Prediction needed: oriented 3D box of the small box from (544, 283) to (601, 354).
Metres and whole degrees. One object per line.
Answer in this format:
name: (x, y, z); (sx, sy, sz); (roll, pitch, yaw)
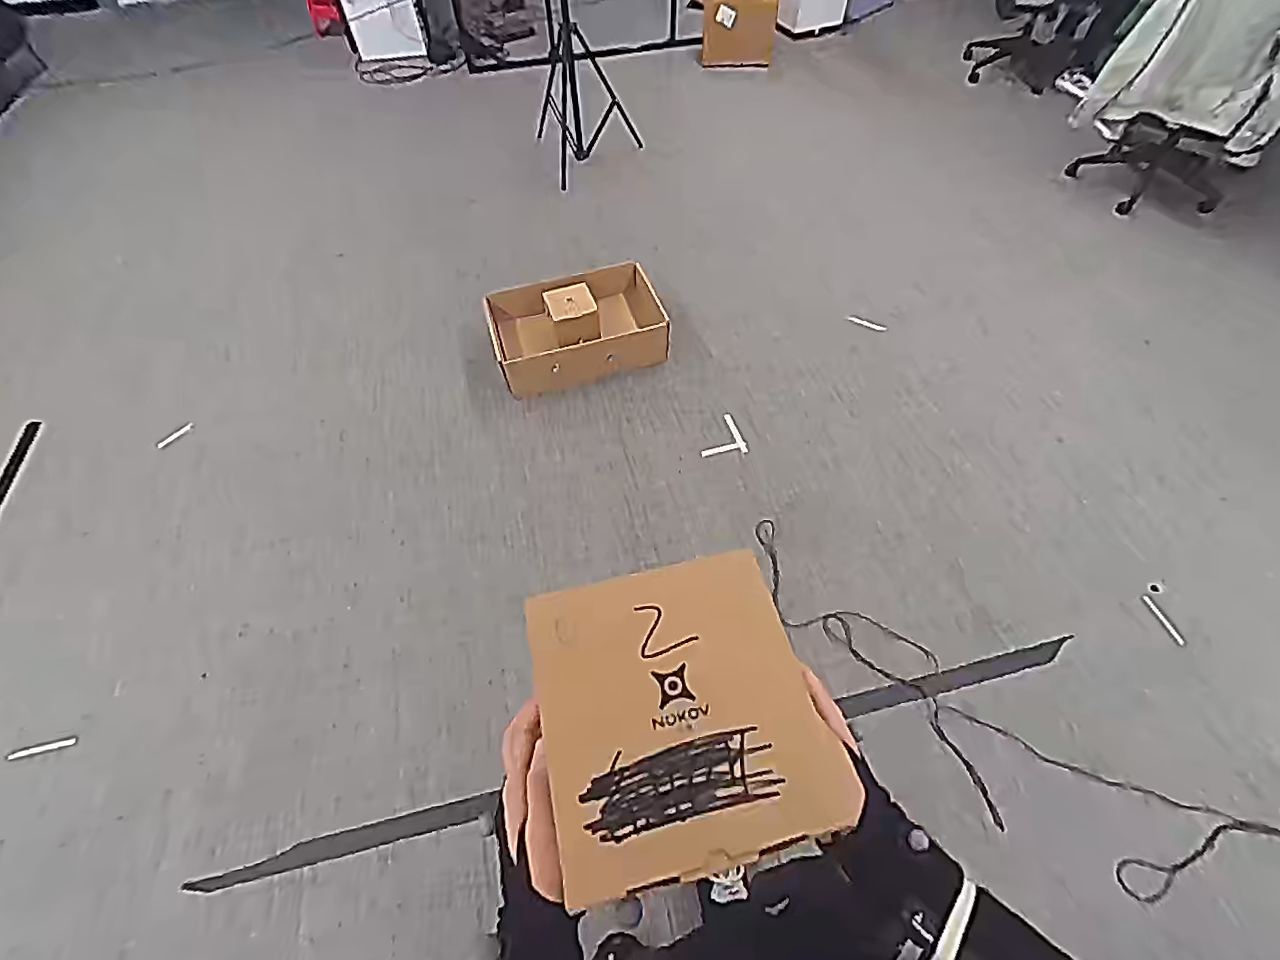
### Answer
small box: (-0.251, -0.601, 2.021); (0.168, 0.176, 0.179); (-18, 57, -10)
